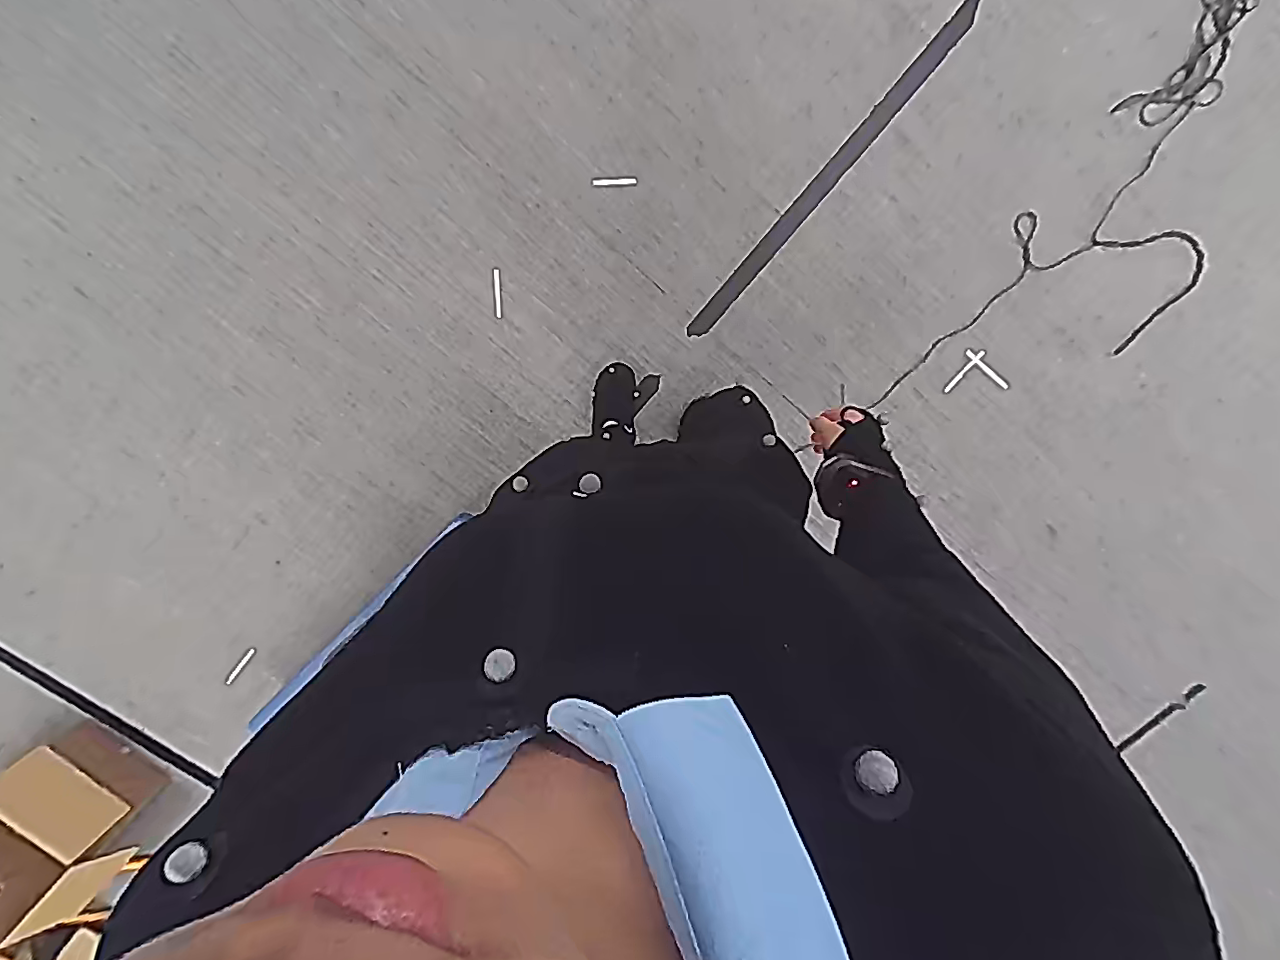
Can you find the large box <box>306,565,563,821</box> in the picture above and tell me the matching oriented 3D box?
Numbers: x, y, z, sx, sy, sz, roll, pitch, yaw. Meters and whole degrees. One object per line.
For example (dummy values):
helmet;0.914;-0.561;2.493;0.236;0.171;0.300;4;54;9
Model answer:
large box;-0.447;0.478;1.269;0.408;0.320;0.320;42;98;-7
